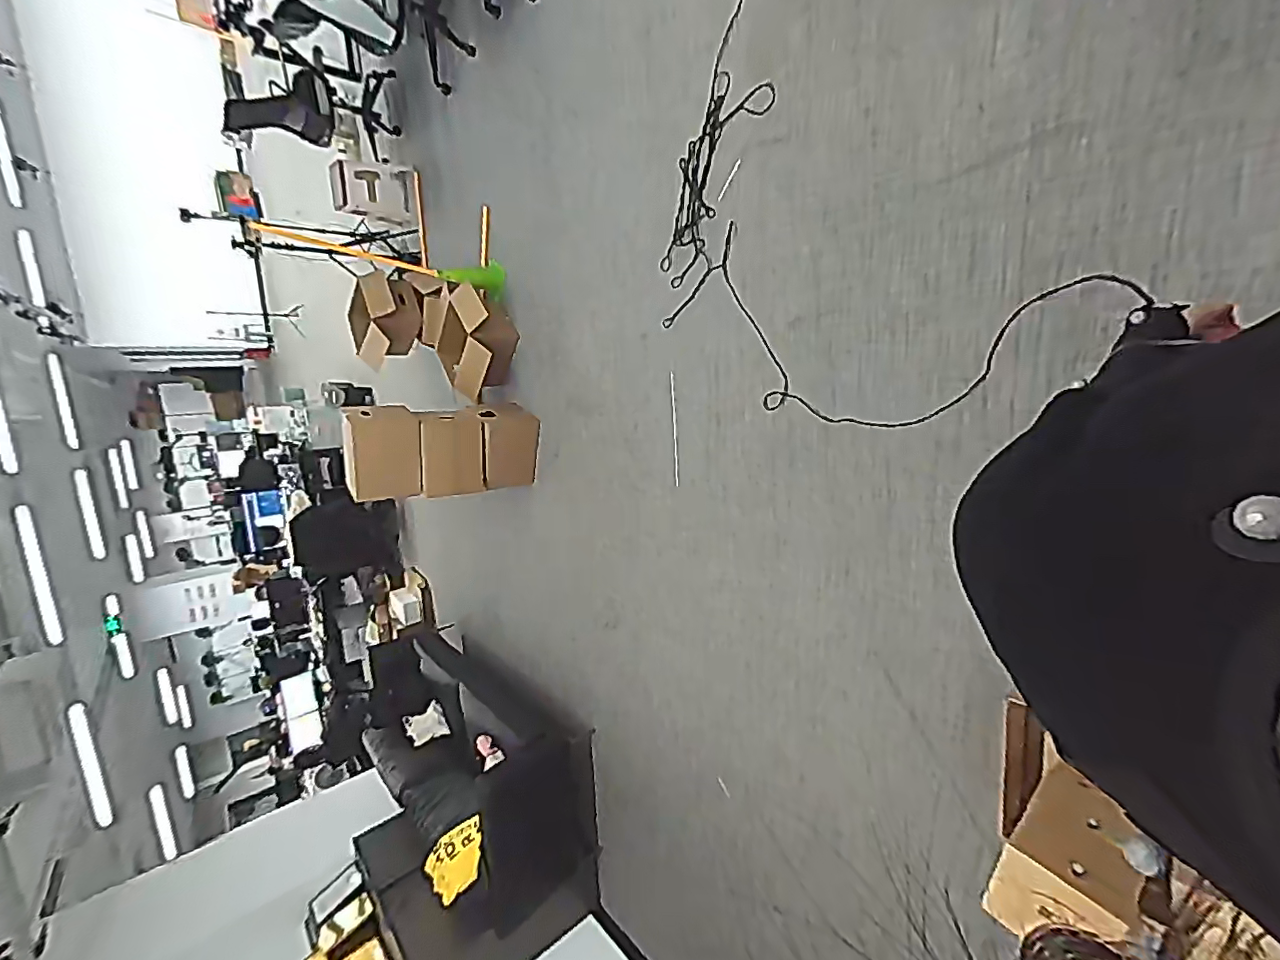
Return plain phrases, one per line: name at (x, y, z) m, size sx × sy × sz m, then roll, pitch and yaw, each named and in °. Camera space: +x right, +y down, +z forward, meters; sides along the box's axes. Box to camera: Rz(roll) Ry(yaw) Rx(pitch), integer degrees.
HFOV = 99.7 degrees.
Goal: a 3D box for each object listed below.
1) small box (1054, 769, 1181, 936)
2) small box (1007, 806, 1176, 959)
small box at (0.940, 0.717, 1.065) m, size 0.168 × 0.176 × 0.179 m, roll 3°, pitch 101°, yaw 50°
small box at (0.807, 0.728, 0.970) m, size 0.179 × 0.176 × 0.168 m, roll 25°, pitch 116°, yaw 46°
